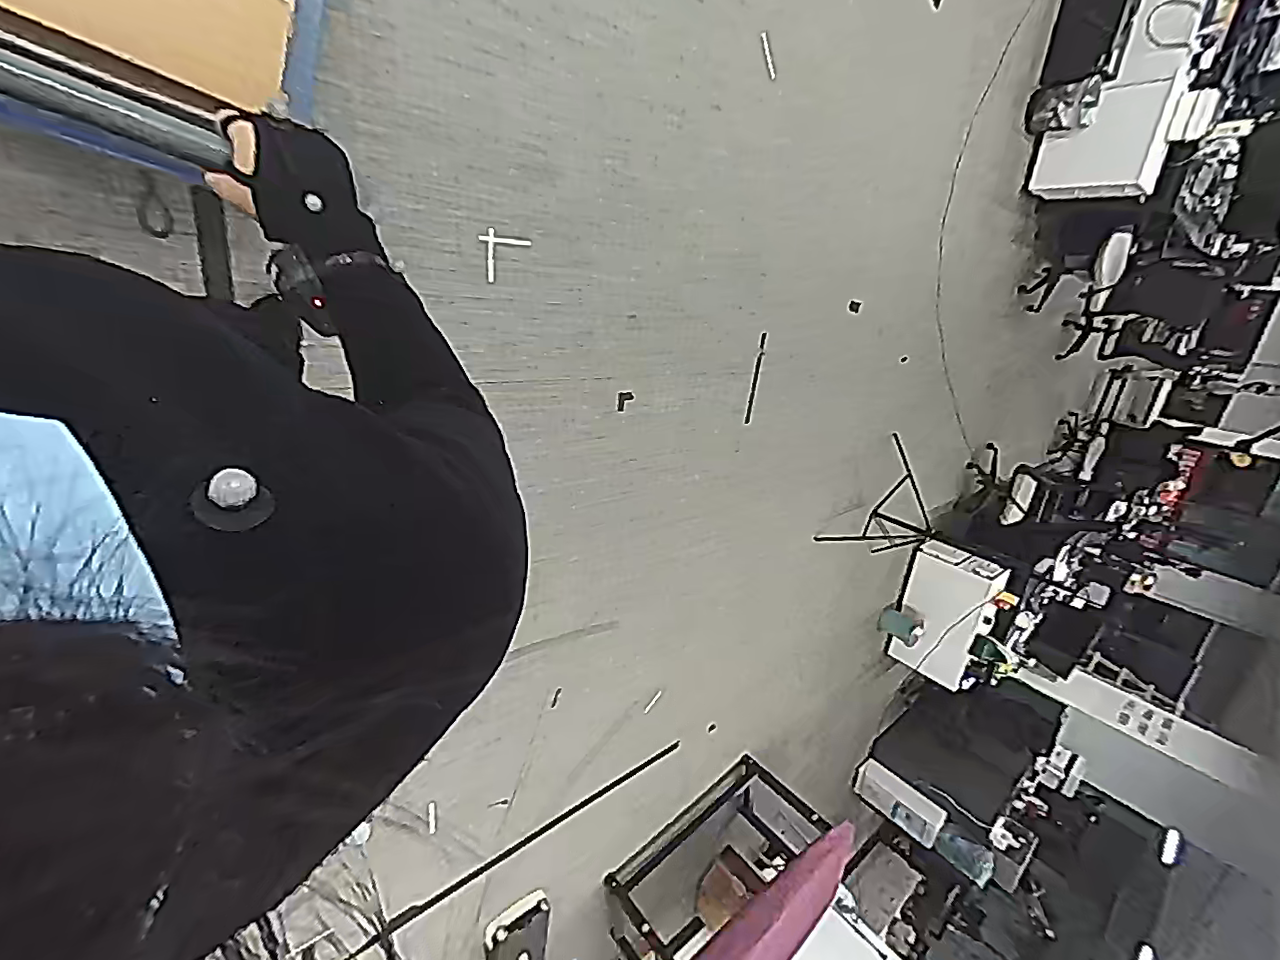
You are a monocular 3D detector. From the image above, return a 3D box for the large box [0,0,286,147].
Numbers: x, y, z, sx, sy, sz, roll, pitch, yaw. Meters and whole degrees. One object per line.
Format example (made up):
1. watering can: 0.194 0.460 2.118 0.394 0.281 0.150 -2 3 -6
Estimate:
1. large box: -0.707 -0.681 0.675 0.408 0.320 0.320 4 107 -45
